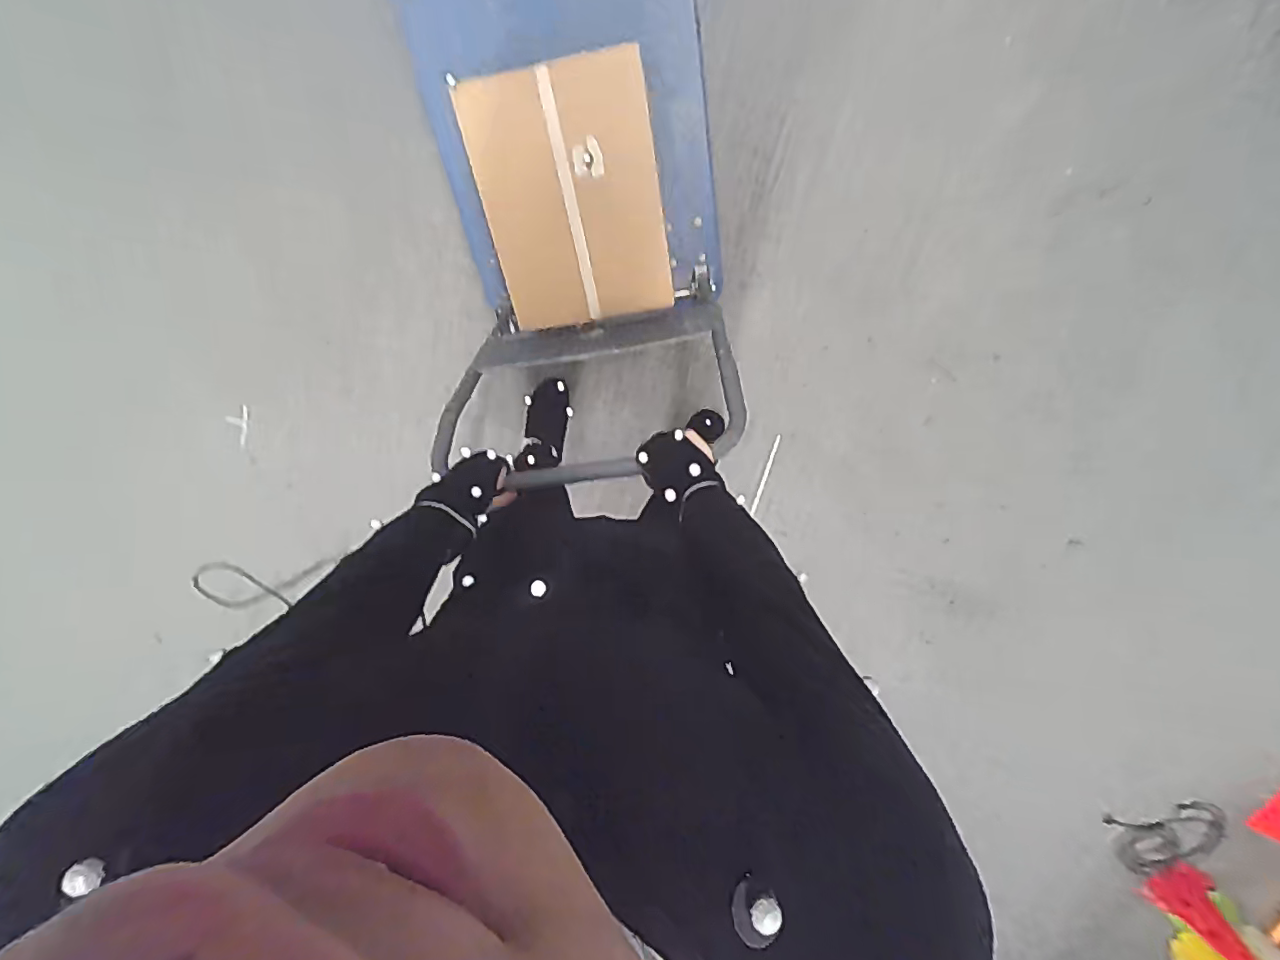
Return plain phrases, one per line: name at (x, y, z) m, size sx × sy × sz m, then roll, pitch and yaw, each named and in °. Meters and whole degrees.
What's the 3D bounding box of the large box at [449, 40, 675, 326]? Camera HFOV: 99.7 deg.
large box at (-0.114, -0.568, 1.073) m, size 0.320 × 0.320 × 0.408 m, roll -8°, pitch 122°, yaw 7°
